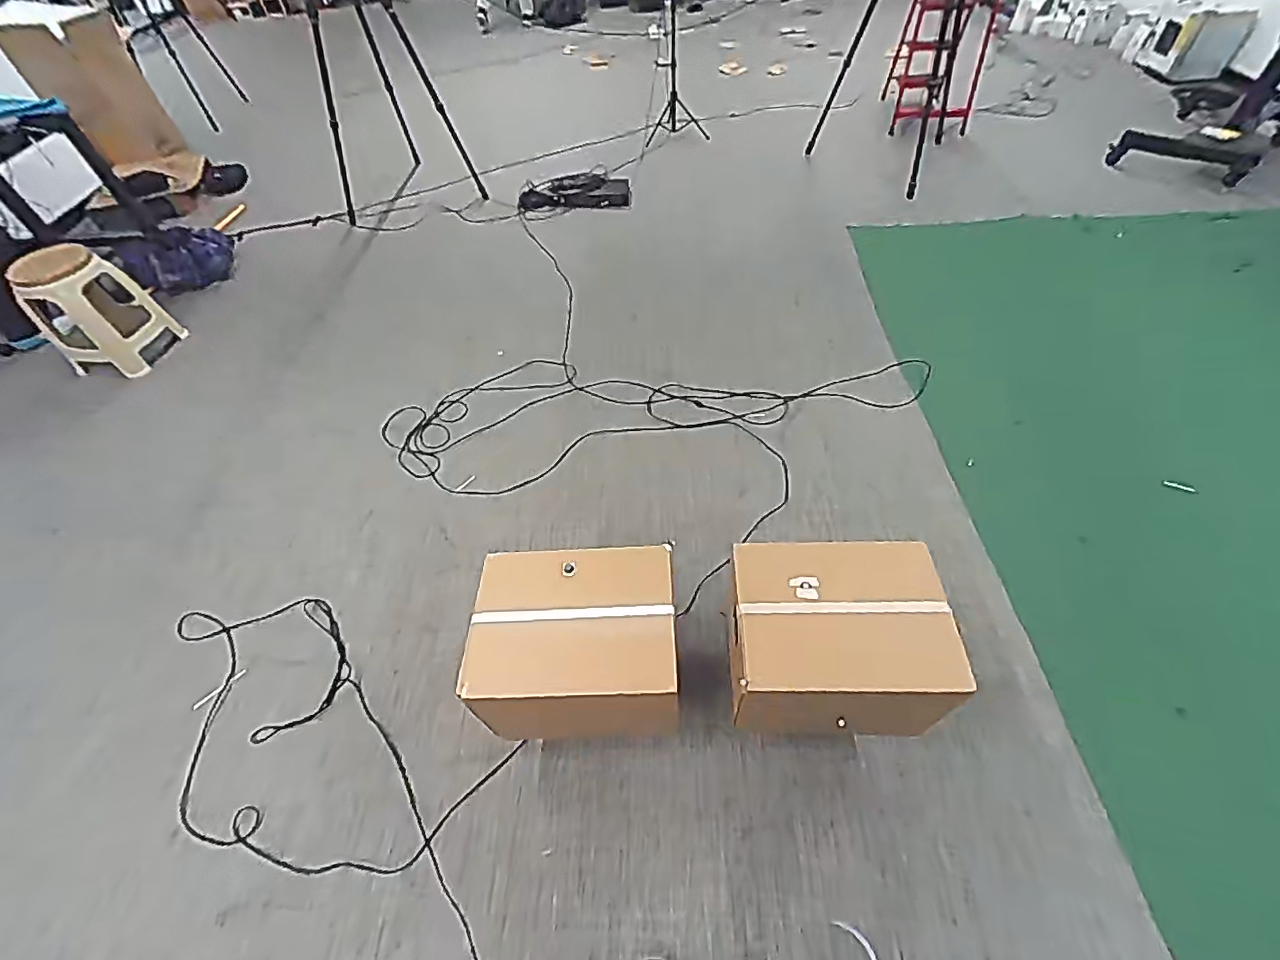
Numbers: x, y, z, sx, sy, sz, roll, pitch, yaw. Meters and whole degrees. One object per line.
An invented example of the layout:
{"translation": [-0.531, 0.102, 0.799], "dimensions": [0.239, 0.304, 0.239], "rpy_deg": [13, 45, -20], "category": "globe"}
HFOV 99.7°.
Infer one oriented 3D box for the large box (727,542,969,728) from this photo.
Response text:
{"translation": [0.410, 0.349, 1.188], "dimensions": [0.408, 0.320, 0.320], "rpy_deg": [-1, 51, 4], "category": "large box"}
